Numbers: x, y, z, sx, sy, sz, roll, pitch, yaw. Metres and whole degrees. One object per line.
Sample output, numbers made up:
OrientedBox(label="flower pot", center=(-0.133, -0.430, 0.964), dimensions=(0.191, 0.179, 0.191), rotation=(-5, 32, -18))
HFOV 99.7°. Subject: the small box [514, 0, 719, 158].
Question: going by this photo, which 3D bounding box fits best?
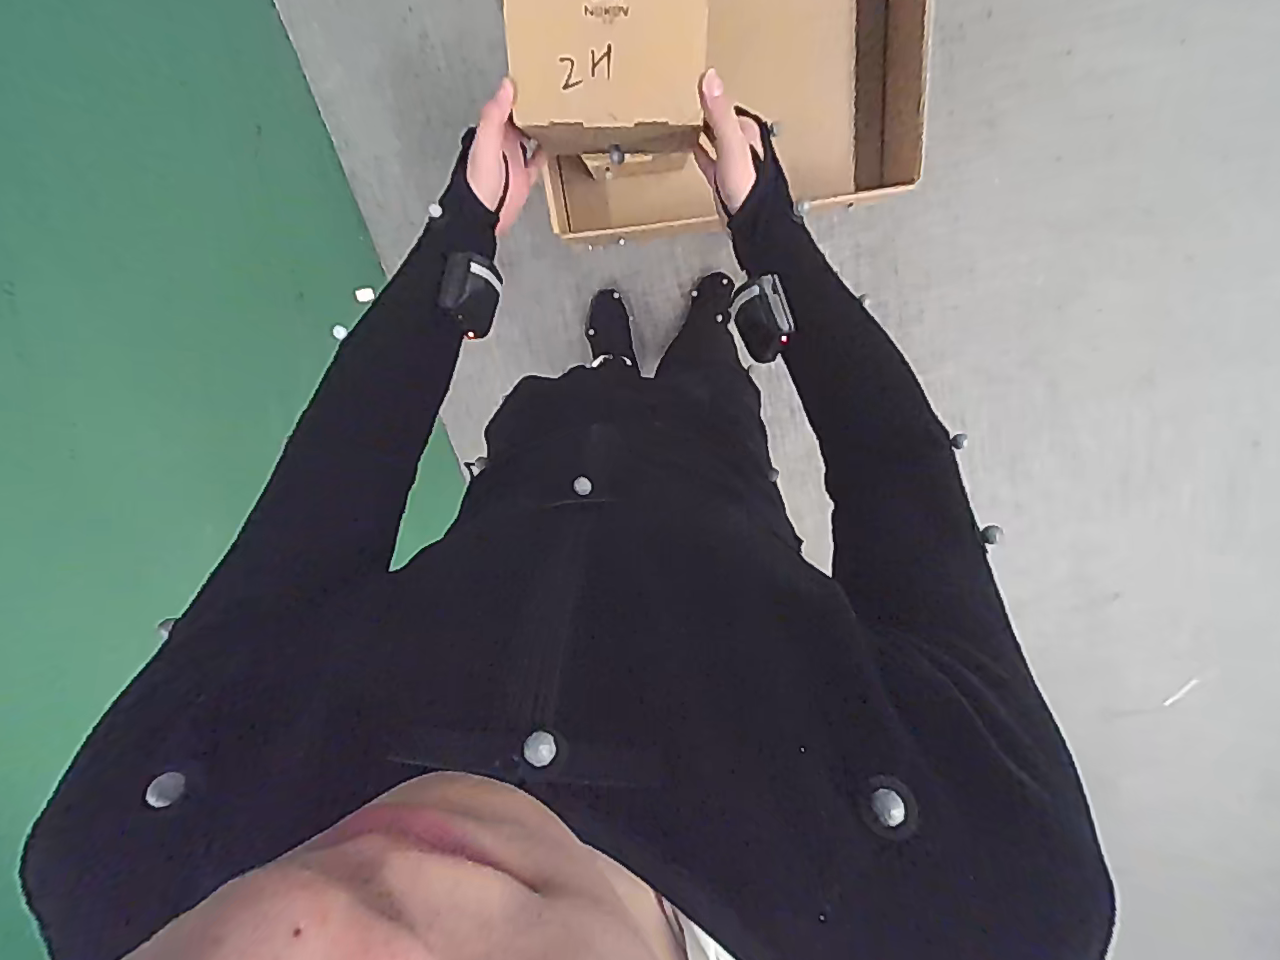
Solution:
OrientedBox(label="small box", center=(-0.018, -0.411, 0.500), dimensions=(0.168, 0.176, 0.179), rotation=(1, 116, 1))
